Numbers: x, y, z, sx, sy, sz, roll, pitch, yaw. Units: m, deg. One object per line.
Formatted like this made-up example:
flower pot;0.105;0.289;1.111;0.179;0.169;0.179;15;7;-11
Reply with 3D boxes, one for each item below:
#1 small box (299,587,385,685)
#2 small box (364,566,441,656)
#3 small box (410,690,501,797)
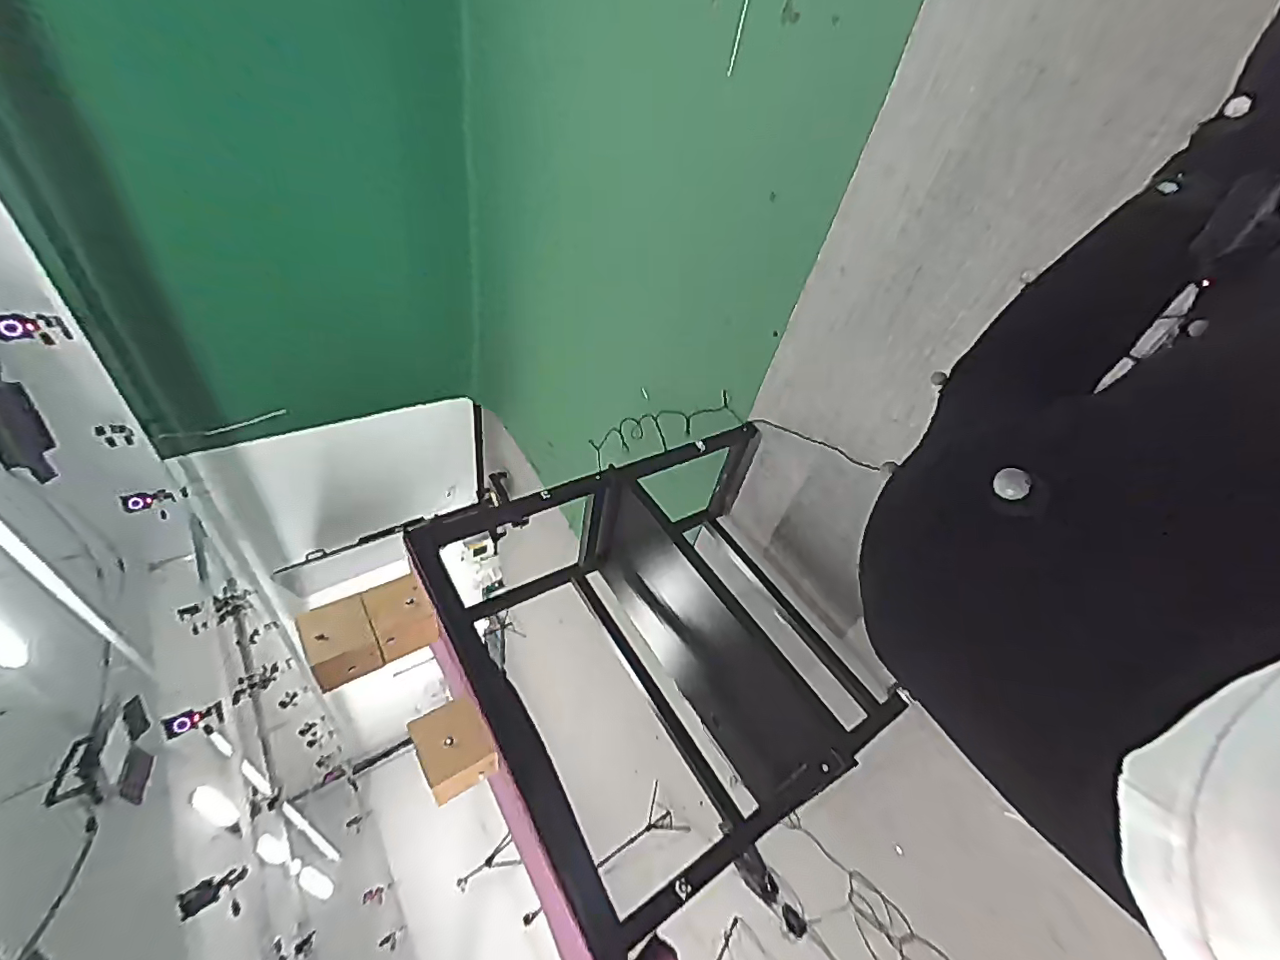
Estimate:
small box;-0.837;0.438;1.534;0.179;0.176;0.168;50;143;31
small box;-0.707;0.392;1.625;0.168;0.176;0.179;51;144;31
small box;-0.472;0.670;1.393;0.179;0.176;0.168;50;146;30
